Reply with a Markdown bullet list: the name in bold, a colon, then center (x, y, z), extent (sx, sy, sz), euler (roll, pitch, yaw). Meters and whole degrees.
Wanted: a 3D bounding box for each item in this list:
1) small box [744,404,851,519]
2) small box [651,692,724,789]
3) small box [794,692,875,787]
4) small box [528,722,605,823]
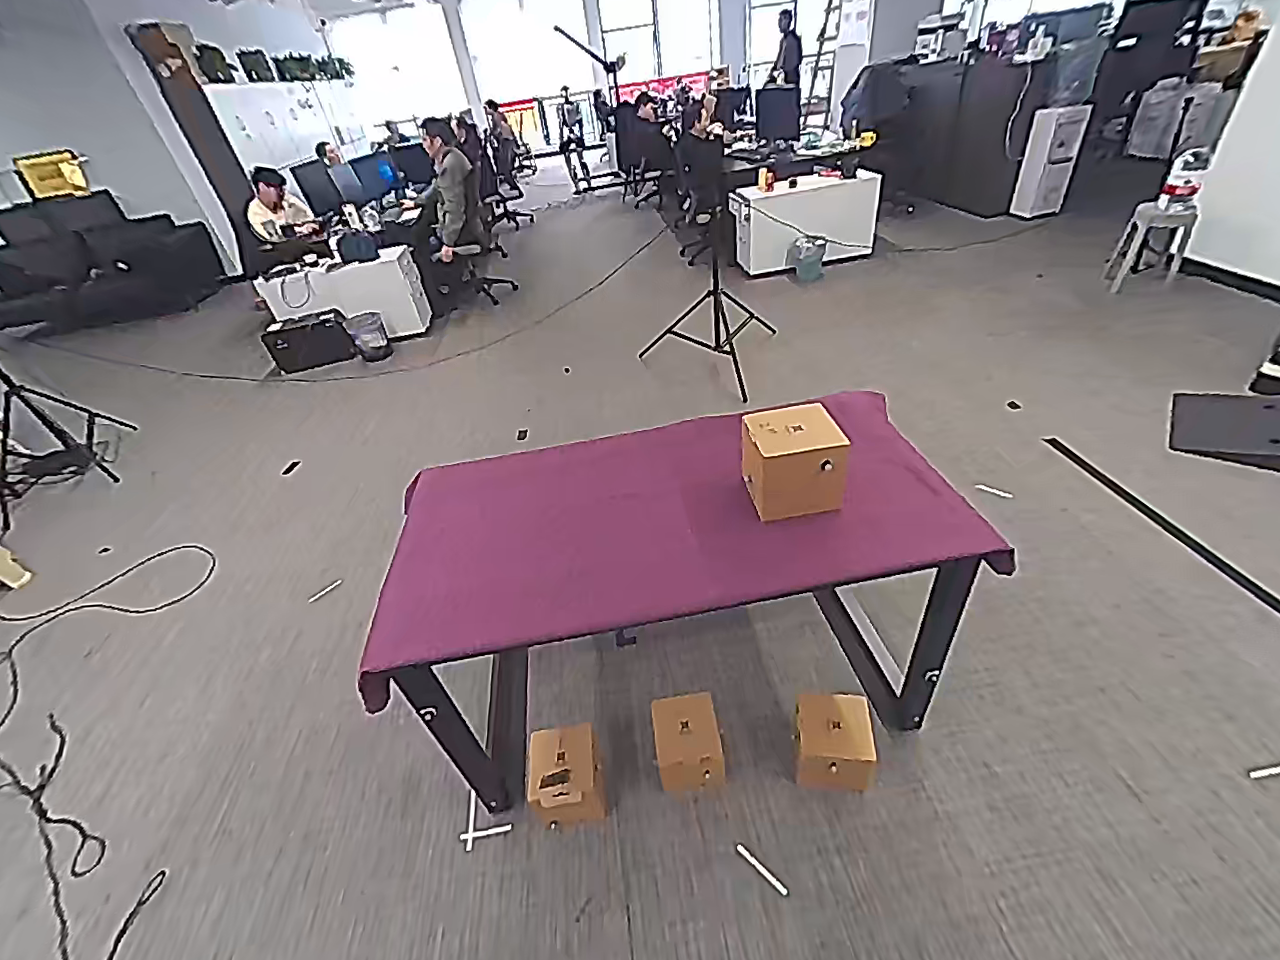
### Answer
- **small box**: center (0.325, -0.038, 1.152), extent (0.179, 0.176, 0.168), euler (-10, 37, 0)
- **small box**: center (0.126, 0.700, 1.445), extent (0.168, 0.176, 0.179), euler (-9, 37, -1)
- **small box**: center (0.496, 0.674, 1.403), extent (0.179, 0.176, 0.168), euler (-1, 39, 13)
- **small box**: center (-0.189, 0.770, 1.417), extent (0.168, 0.176, 0.179), euler (-10, 37, -1)
